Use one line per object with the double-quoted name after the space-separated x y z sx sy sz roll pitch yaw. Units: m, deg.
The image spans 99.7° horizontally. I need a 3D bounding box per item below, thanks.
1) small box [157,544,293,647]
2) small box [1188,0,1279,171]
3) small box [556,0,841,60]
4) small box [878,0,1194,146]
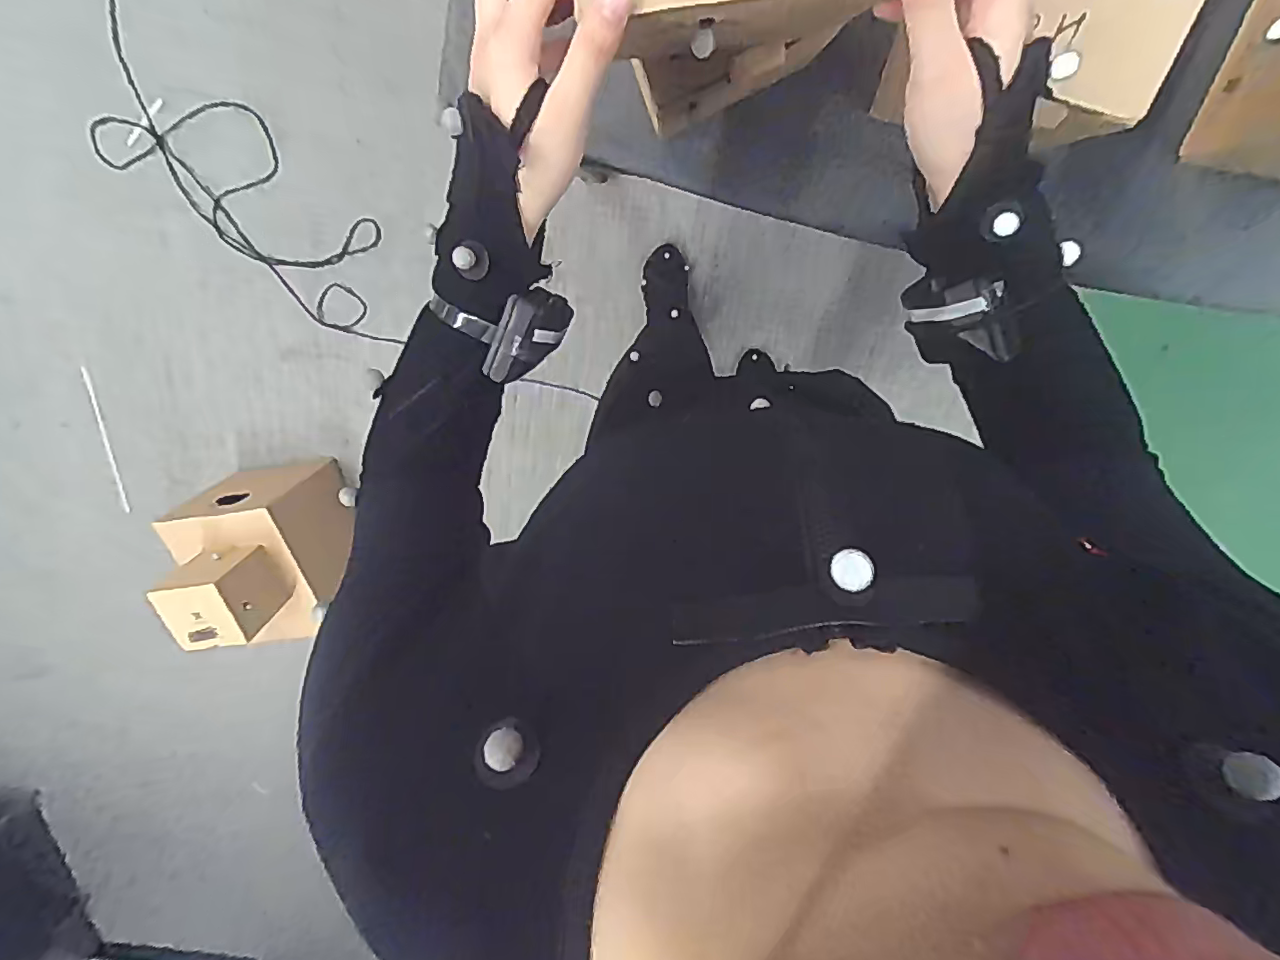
-1.000 0.280 1.325 0.168 0.176 0.179 -8 115 5 "small box"
0.659 -0.369 0.461 0.179 0.176 0.168 9 114 0 "small box"
0.038 -0.352 0.296 0.179 0.176 0.168 -5 121 4 "small box"
0.331 -0.411 0.459 0.168 0.176 0.179 13 115 -2 "small box"
